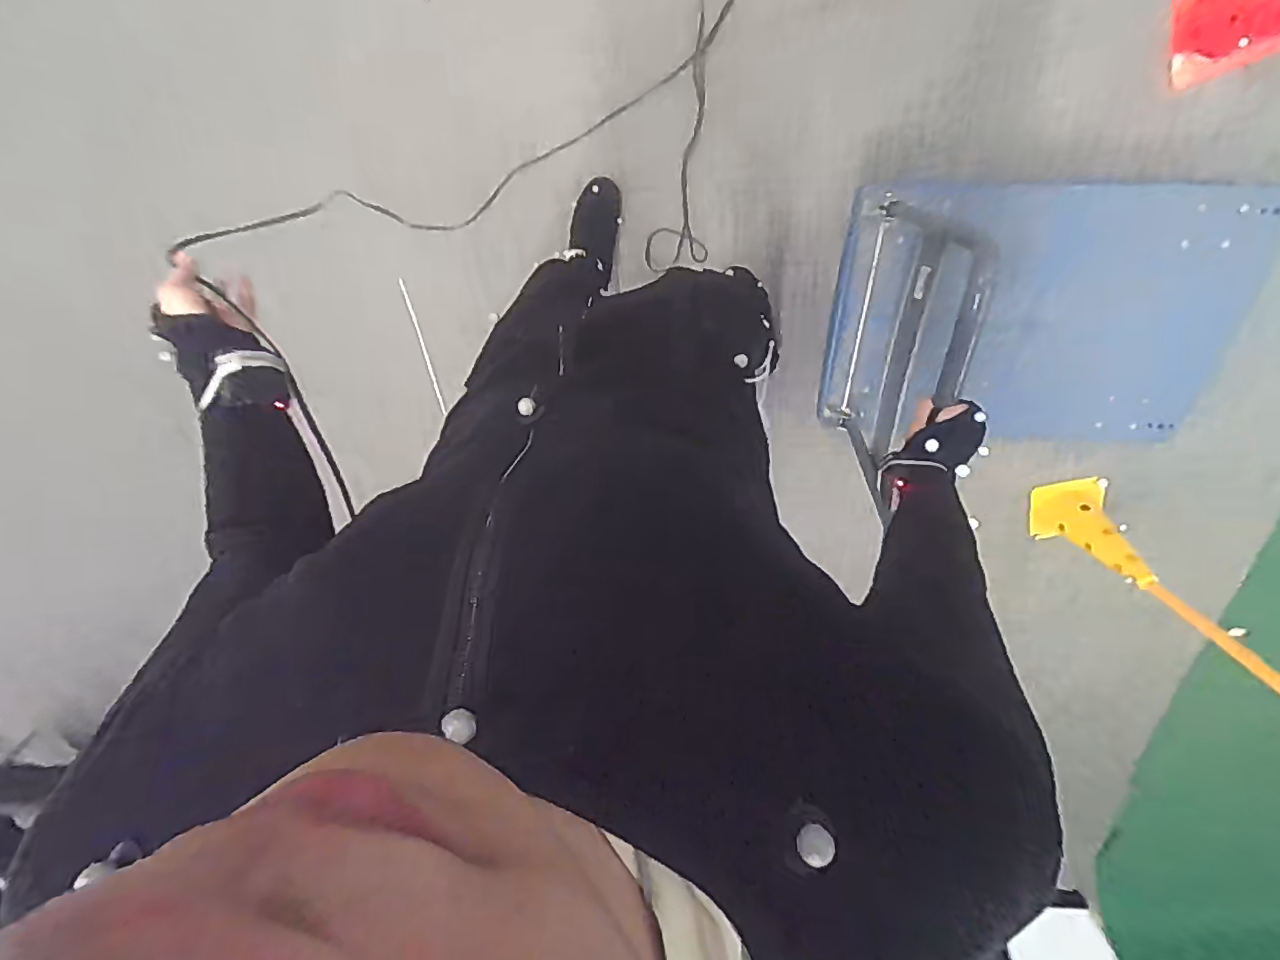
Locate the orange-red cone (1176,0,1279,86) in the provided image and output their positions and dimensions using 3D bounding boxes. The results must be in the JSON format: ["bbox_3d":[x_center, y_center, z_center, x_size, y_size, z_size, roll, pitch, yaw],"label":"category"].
[{"bbox_3d":[1.175,-0.845,0.929,0.198,0.360,0.199,-16,116,14],"label":"orange-red cone"}]
